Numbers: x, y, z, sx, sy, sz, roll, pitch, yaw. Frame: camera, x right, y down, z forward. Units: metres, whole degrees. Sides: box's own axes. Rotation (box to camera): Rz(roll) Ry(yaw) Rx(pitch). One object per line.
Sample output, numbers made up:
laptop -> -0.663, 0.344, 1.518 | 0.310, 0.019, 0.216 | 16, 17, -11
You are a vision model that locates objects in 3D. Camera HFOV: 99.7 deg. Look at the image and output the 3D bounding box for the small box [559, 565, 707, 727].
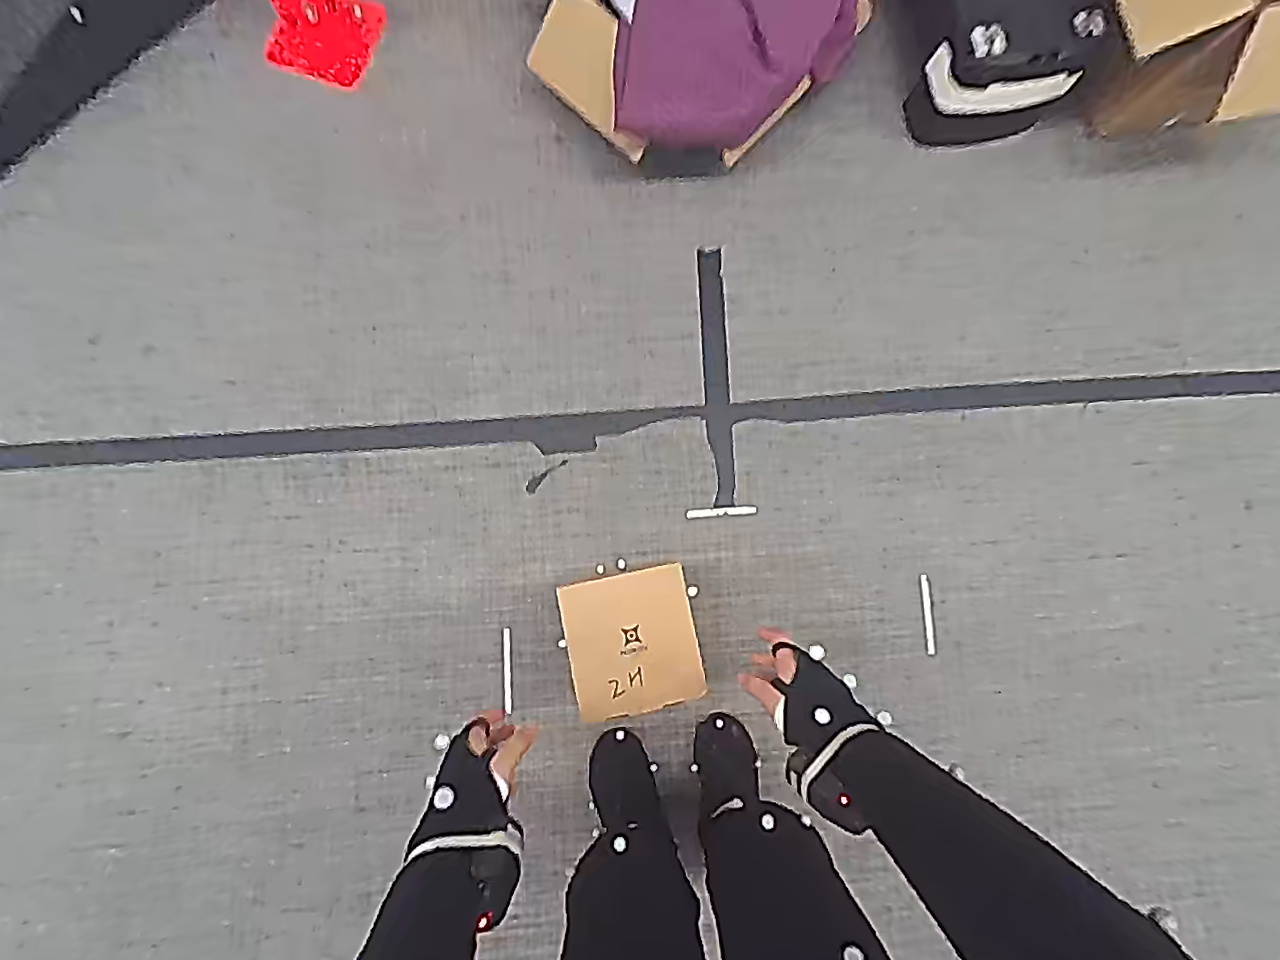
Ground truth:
small box -> -0.013, 0.221, 0.767 | 0.168, 0.176, 0.179 | -11, 84, -2
